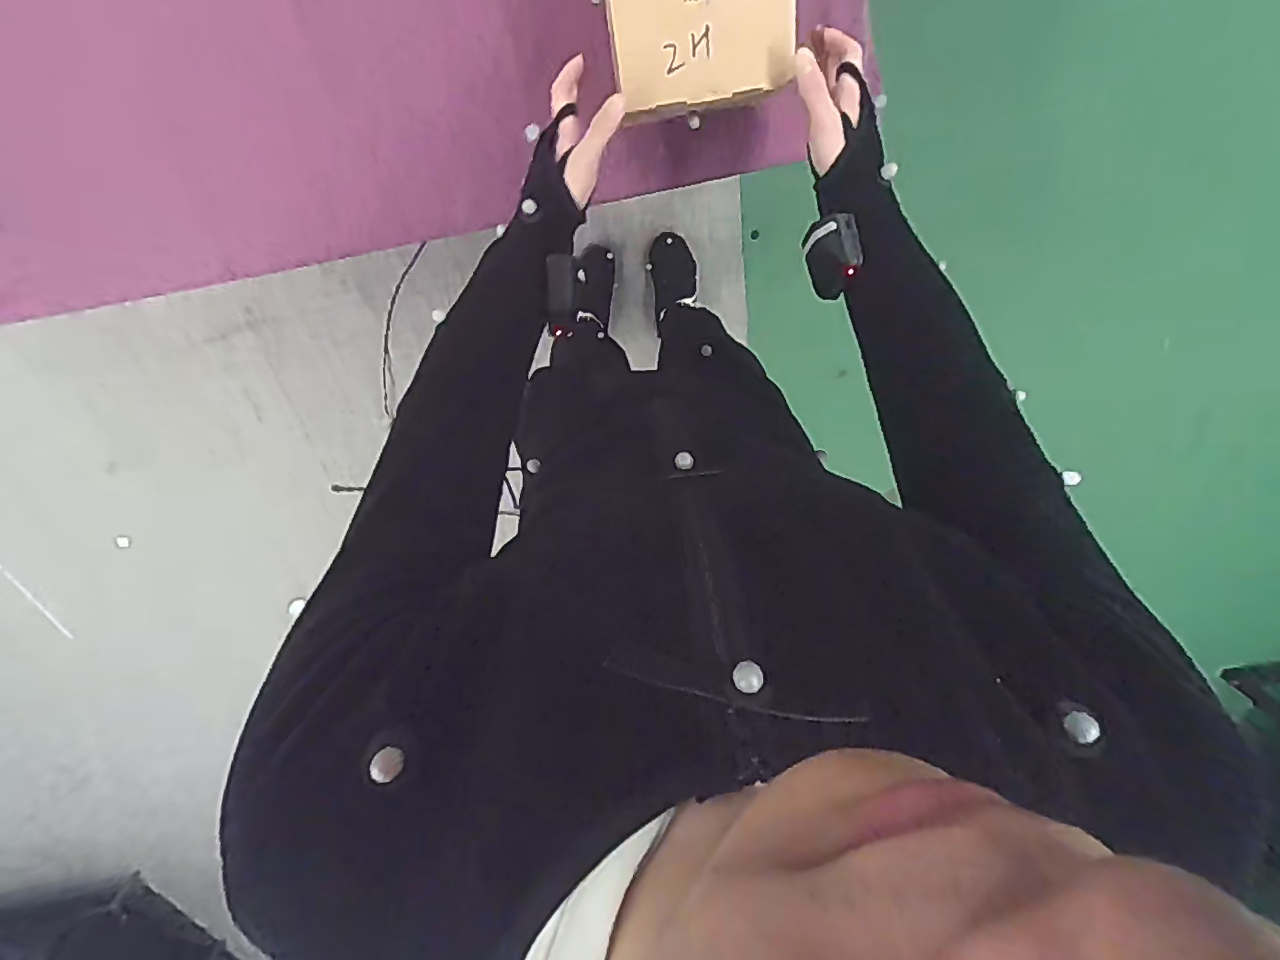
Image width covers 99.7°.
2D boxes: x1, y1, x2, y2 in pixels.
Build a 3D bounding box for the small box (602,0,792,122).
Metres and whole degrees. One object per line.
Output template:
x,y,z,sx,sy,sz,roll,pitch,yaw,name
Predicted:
0.047,-0.477,0.538,0.168,0.176,0.179,-8,120,2,small box
